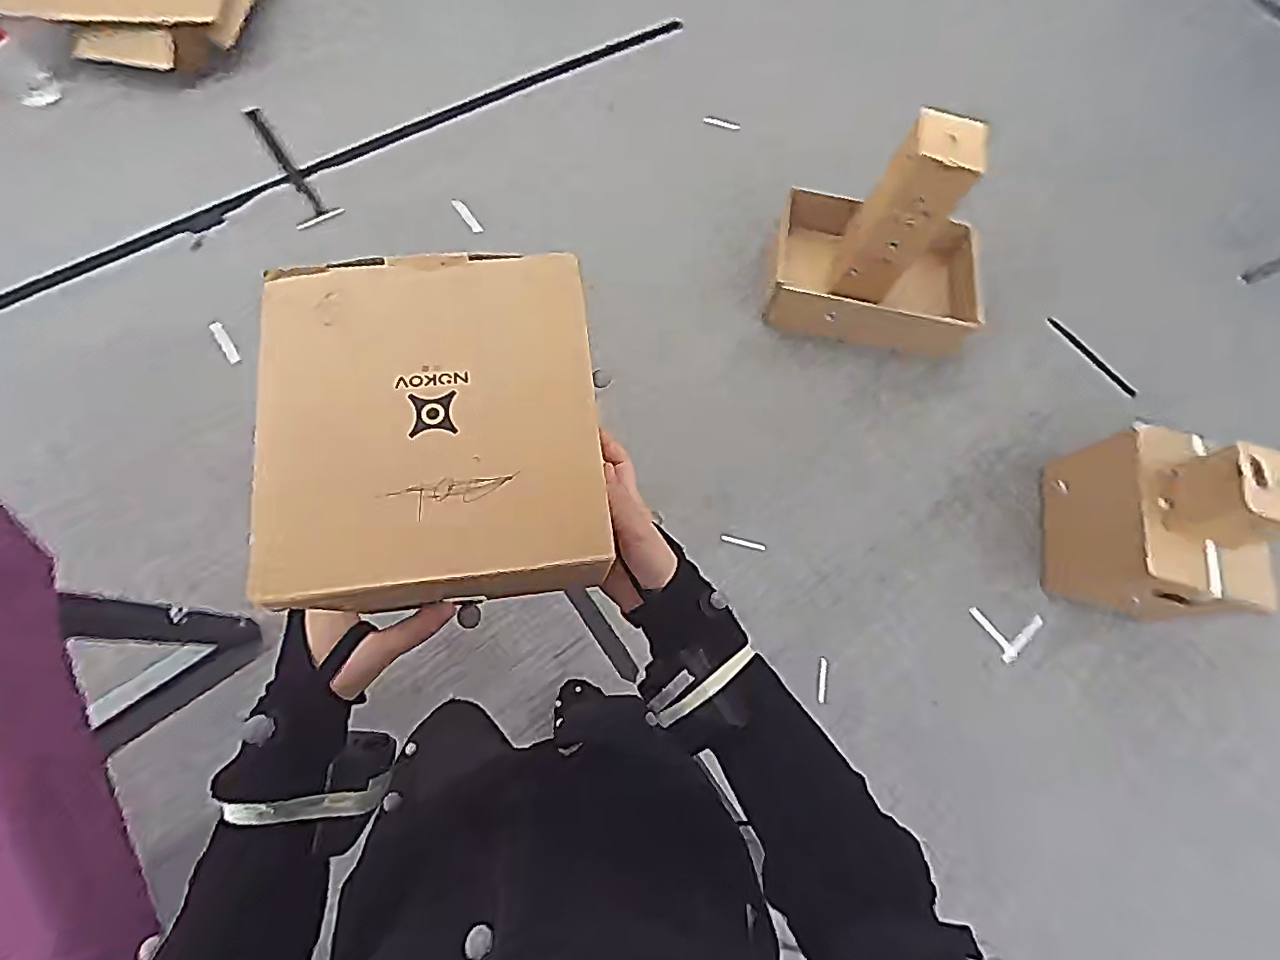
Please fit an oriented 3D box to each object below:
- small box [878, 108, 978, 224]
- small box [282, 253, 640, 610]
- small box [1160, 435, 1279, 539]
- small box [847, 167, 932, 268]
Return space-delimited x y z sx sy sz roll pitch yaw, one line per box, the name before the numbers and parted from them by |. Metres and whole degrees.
small box | 0.734 -0.802 1.392 0.168 0.176 0.179 13 69 -2
small box | -0.098 -0.016 0.350 0.168 0.176 0.179 -7 76 -7
small box | 1.335 0.023 1.226 0.179 0.176 0.168 15 70 -1
small box | 0.709 -0.740 1.541 0.168 0.176 0.179 14 70 -2
